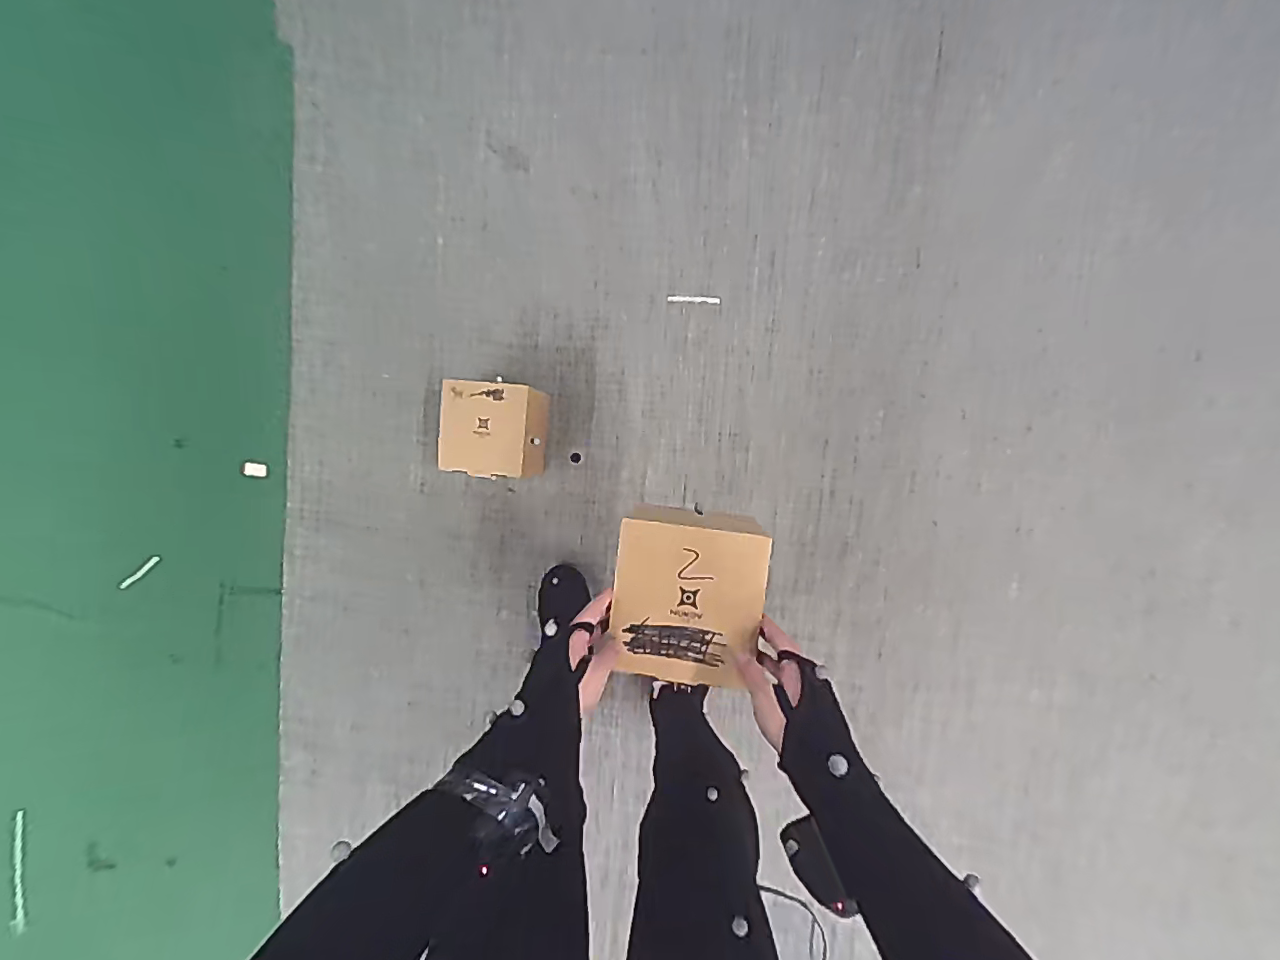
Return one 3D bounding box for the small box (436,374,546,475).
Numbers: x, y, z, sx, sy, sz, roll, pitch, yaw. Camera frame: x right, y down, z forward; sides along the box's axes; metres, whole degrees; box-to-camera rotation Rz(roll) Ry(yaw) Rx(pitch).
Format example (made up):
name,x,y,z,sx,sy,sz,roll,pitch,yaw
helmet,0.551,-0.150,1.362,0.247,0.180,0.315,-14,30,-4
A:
name,x,y,z,sx,sy,sz,roll,pitch,yaw
small box,-0.291,-0.110,1.085,0.168,0.176,0.179,6,94,3
